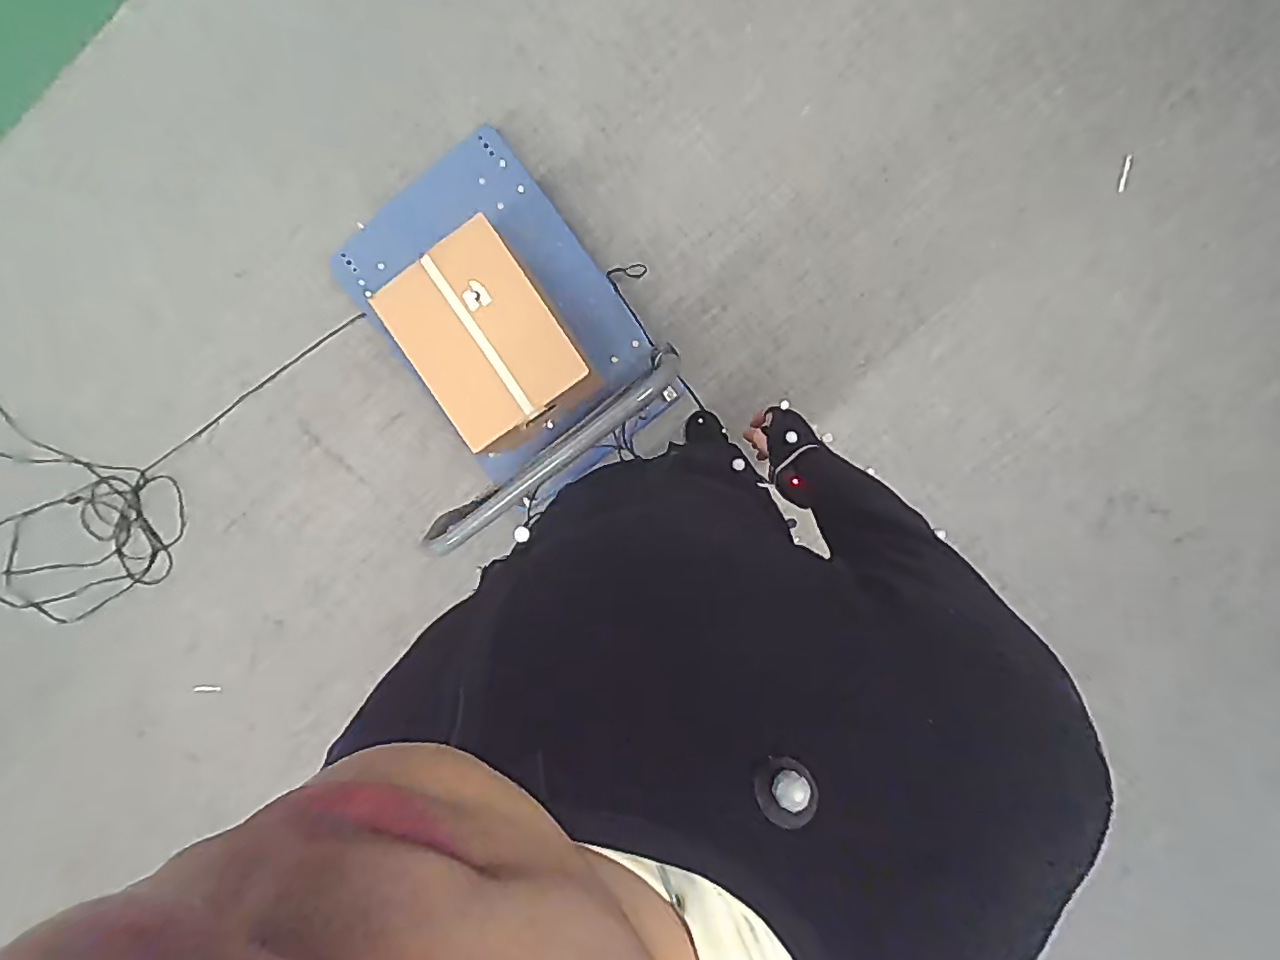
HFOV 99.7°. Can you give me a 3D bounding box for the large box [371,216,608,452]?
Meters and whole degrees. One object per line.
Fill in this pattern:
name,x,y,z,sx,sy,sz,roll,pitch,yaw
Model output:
large box,-0.326,-0.317,1.286,0.320,0.320,0.408,-34,92,6
